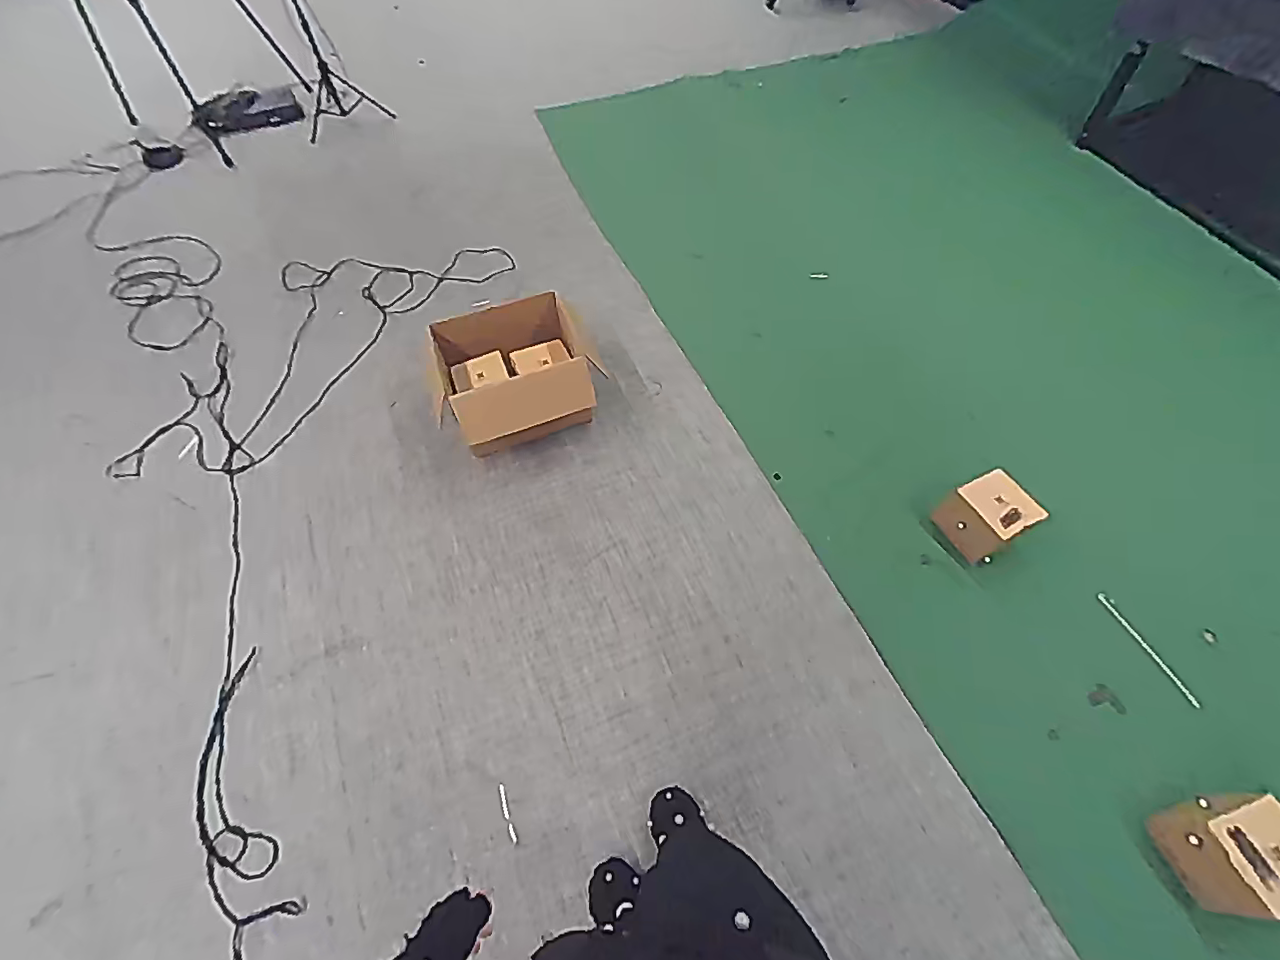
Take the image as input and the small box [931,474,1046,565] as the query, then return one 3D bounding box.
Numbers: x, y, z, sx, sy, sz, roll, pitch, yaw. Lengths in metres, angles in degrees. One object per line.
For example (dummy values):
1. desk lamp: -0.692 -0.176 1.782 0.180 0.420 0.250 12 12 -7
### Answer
1. small box: 0.974 0.120 1.526 0.168 0.176 0.179 -22 59 -13
